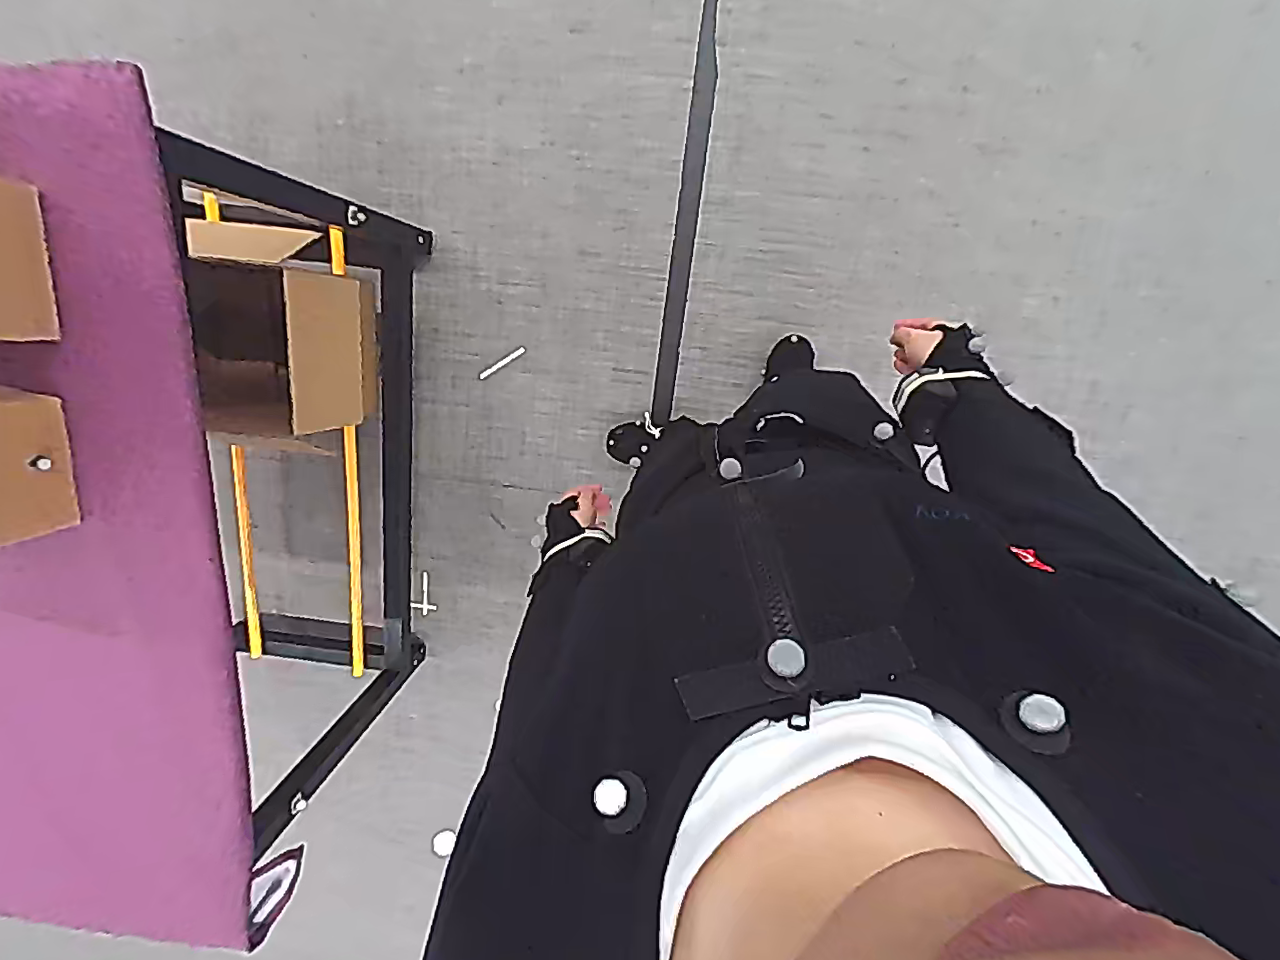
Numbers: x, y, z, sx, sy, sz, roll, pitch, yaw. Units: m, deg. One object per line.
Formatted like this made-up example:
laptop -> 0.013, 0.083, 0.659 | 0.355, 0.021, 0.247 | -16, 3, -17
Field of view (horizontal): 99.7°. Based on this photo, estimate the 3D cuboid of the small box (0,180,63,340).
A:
small box -> -0.786, -0.249, 0.574 | 0.168, 0.176, 0.179 | 9, 105, 5

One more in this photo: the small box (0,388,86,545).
small box -> -0.827, -0.014, 0.637 | 0.168, 0.176, 0.179 | 9, 106, 4
